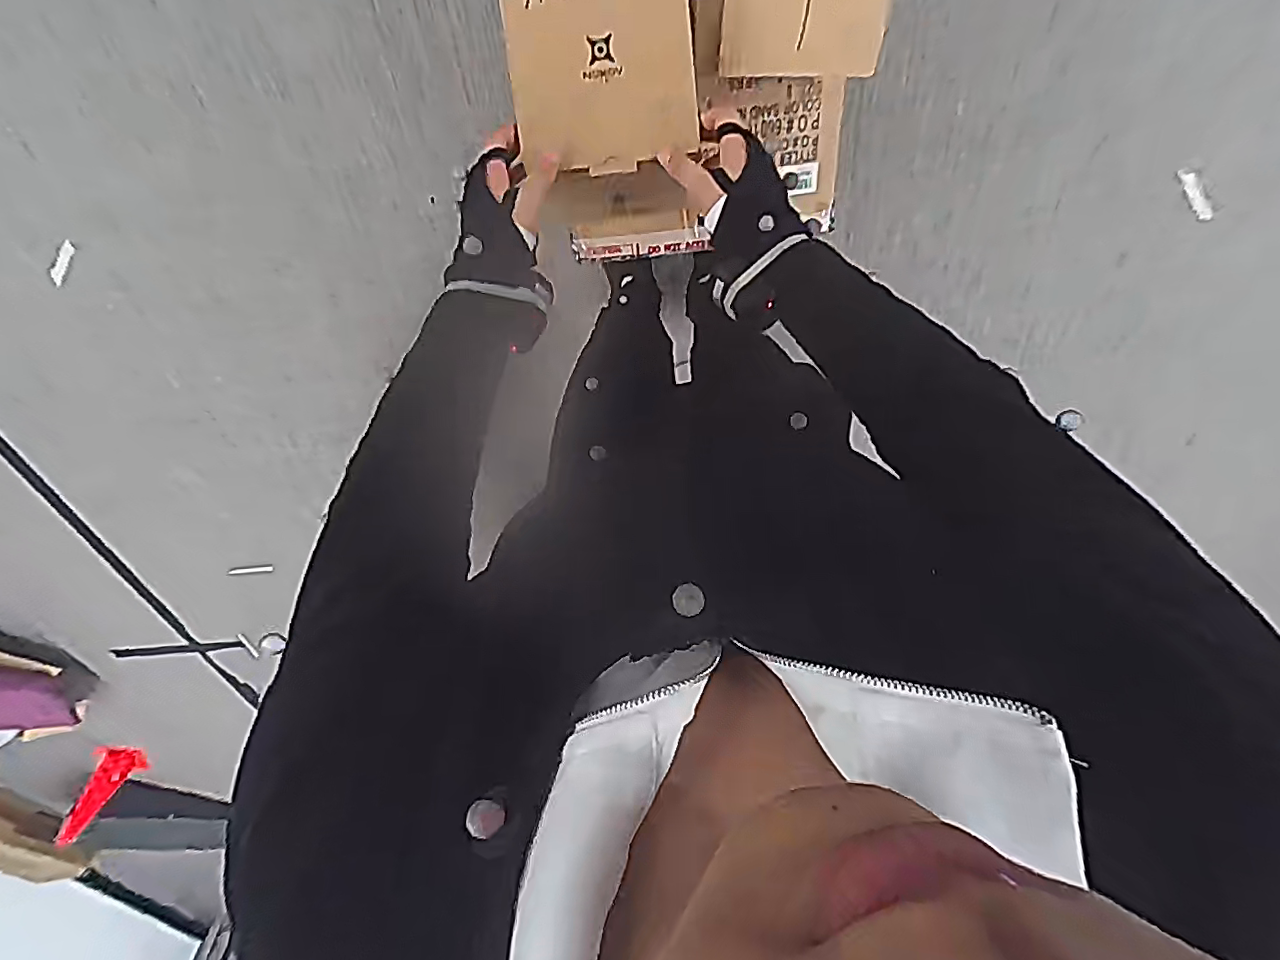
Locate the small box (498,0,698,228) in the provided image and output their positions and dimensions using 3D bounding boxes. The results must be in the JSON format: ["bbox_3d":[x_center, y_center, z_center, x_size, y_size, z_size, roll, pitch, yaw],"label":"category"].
[{"bbox_3d":[-0.034,-0.373,0.554,0.168,0.176,0.179,-6,99,1],"label":"small box"}]
